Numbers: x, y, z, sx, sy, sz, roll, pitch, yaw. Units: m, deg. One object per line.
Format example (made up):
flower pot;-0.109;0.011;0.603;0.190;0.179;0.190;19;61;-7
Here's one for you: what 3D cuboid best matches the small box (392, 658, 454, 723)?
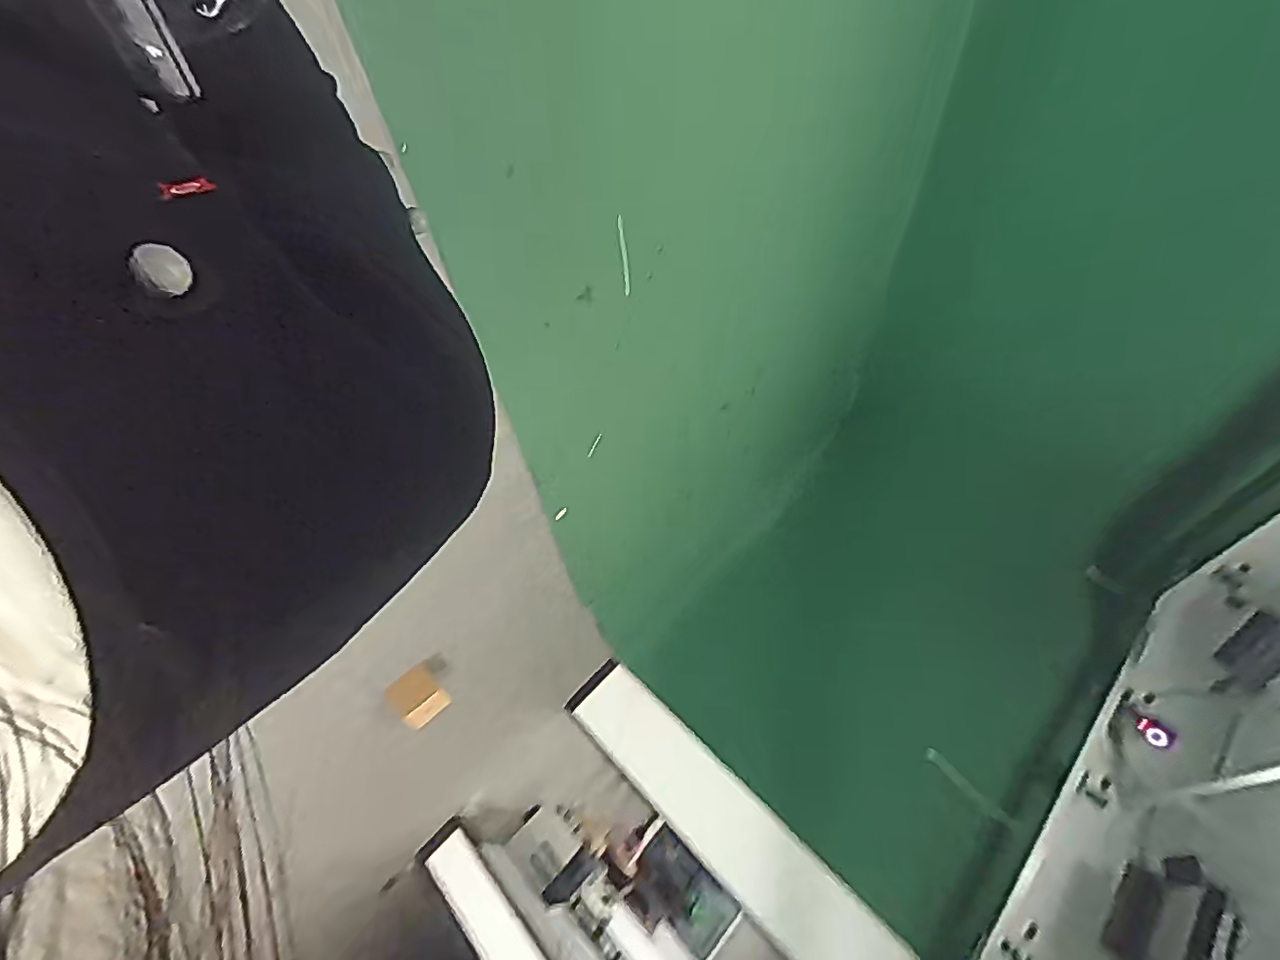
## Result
small box;-0.957;0.922;2.371;0.179;0.176;0.168;-40;149;-25
